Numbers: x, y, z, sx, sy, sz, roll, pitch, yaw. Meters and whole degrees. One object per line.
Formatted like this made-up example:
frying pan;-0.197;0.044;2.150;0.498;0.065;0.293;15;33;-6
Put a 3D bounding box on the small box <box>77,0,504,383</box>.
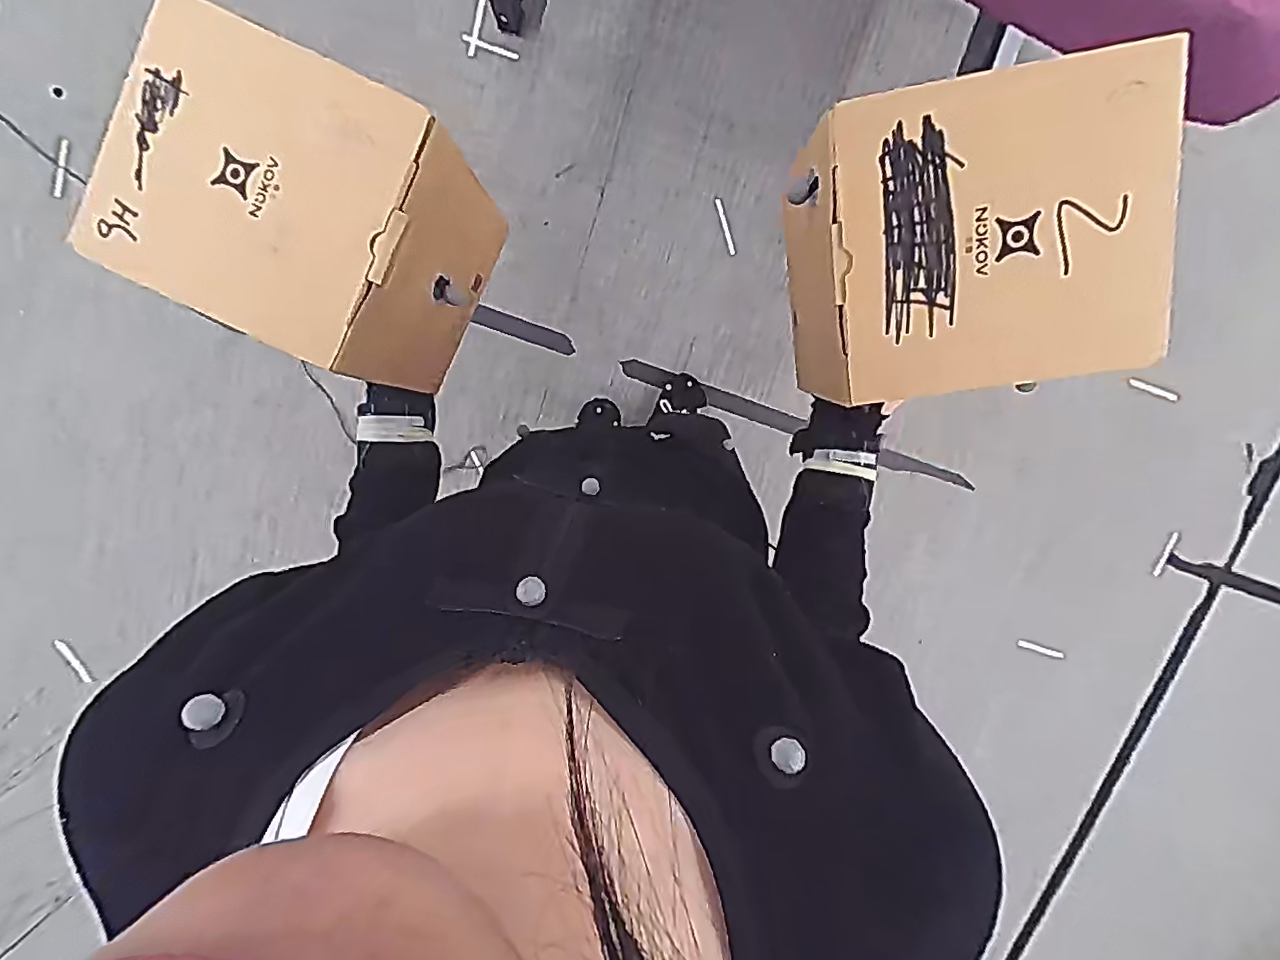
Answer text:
small box;-0.222;-0.181;0.397;0.179;0.176;0.168;25;94;-2
